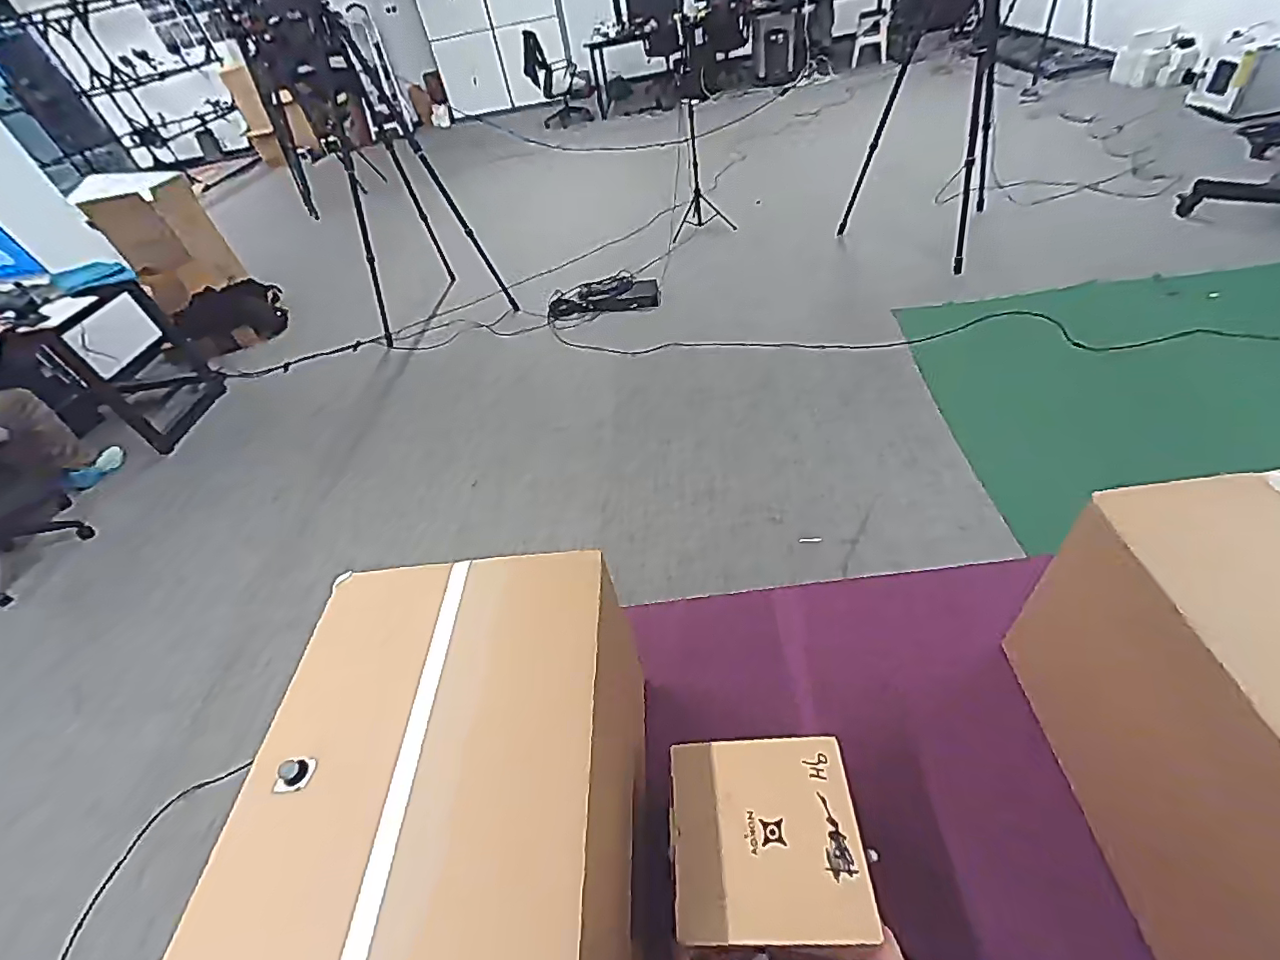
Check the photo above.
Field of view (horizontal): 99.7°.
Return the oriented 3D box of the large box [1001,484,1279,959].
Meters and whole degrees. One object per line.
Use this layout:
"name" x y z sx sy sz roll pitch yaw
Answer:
"large box" 0.627 0.249 0.499 0.320 0.320 0.408 -6 45 7
